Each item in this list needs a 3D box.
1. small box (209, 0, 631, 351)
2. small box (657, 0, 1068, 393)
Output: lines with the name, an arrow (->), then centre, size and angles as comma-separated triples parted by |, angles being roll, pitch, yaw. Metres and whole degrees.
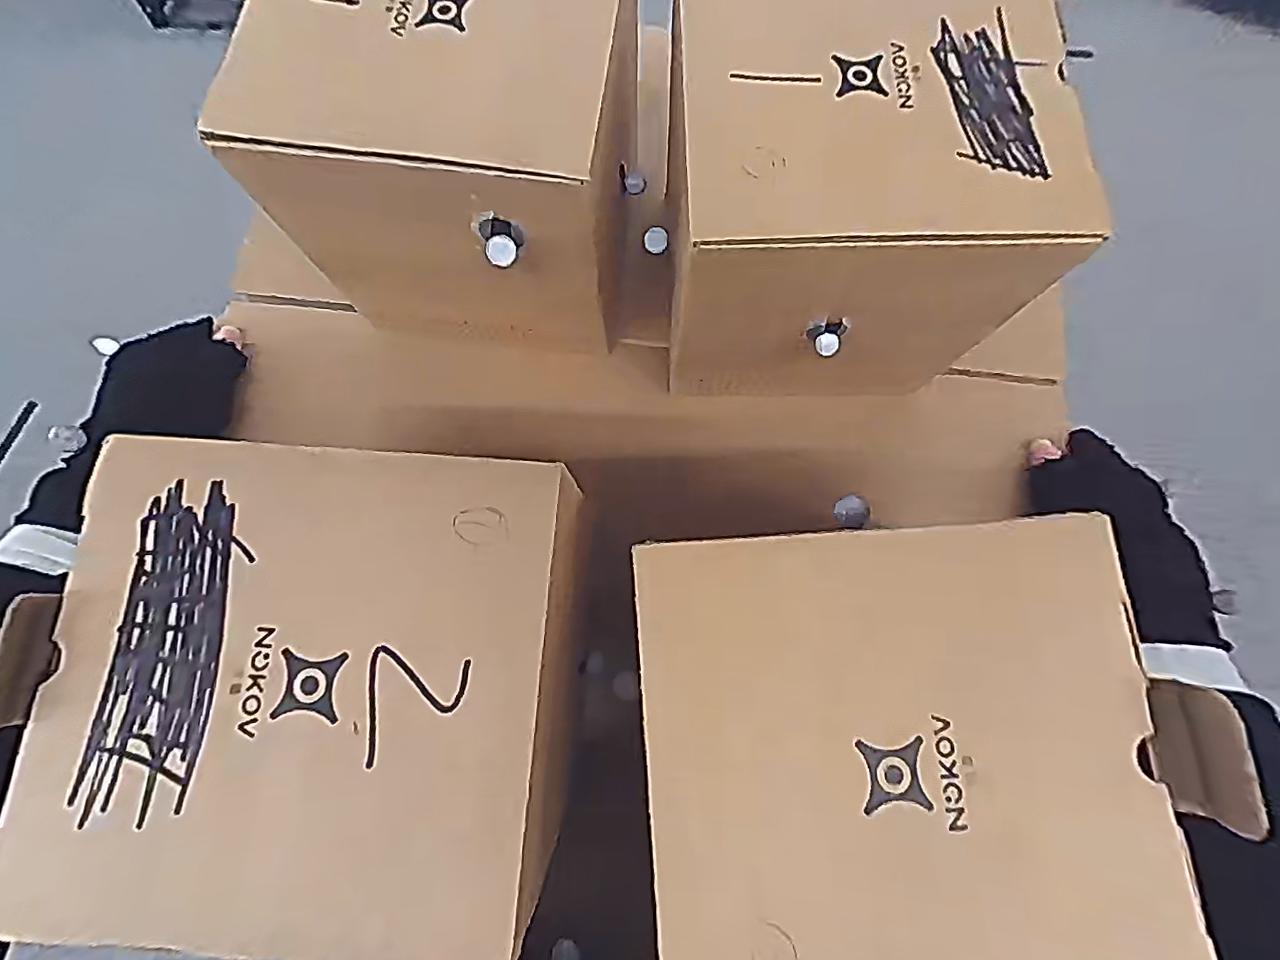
small box -> -0.101, -0.197, 0.340 | 0.179, 0.176, 0.168 | 8, 77, 2
small box -> 0.100, -0.160, 0.330 | 0.179, 0.176, 0.168 | -1, 77, 1
